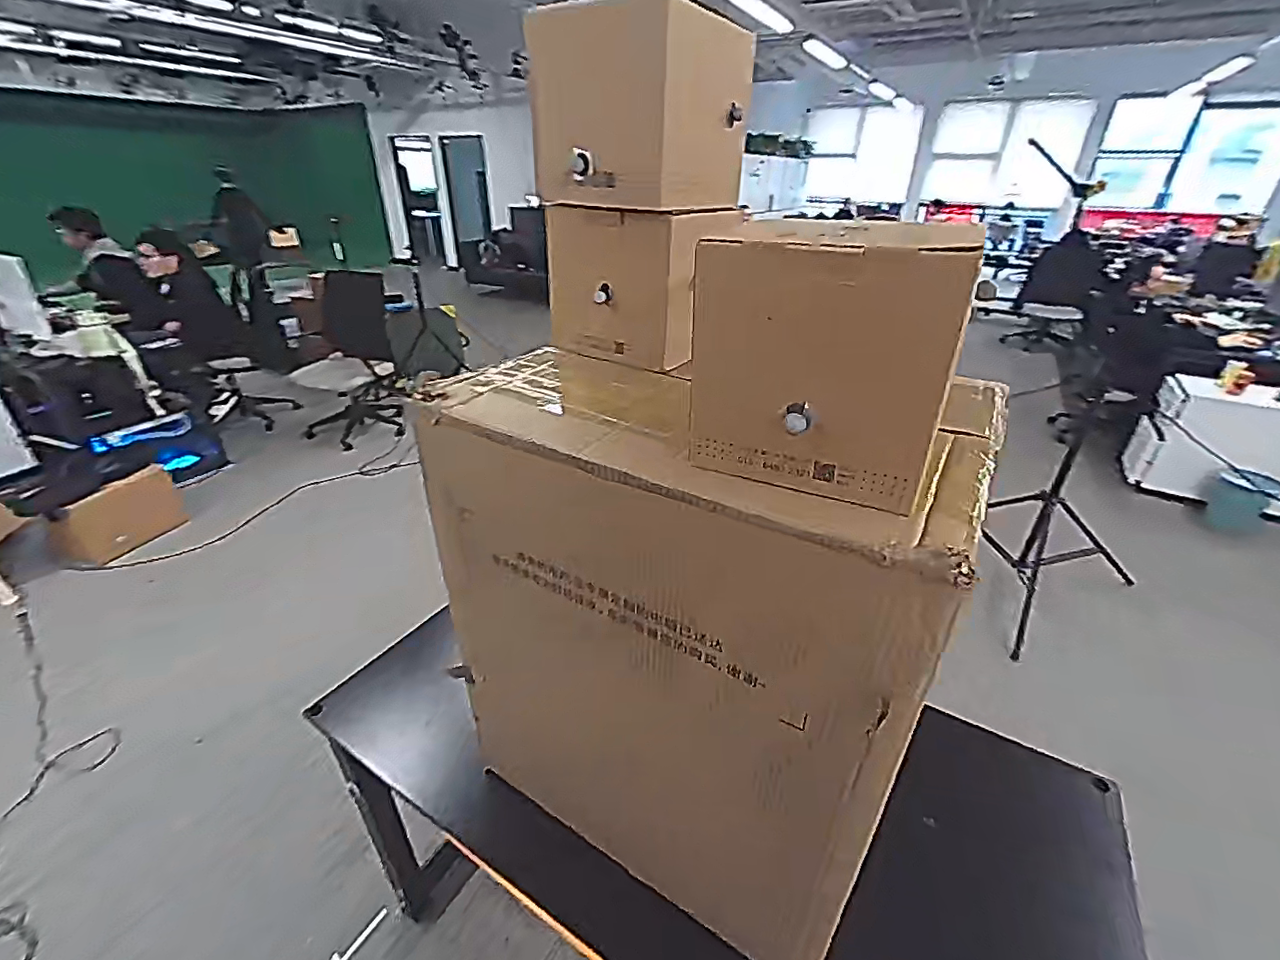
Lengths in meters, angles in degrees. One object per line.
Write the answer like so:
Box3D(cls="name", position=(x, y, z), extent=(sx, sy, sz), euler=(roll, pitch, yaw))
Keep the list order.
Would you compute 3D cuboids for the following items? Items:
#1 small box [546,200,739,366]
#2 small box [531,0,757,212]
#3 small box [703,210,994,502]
Box3D(cls="small box", position=(0.007, -0.250, 0.667), extent=(0.168, 0.176, 0.179), euler=(19, 34, 26))
Box3D(cls="small box", position=(0.005, -0.385, 0.574), extent=(0.168, 0.176, 0.179), euler=(18, 34, 29))
Box3D(cls="small box", position=(0.153, -0.107, 0.415), extent=(0.168, 0.176, 0.179), euler=(14, 33, 25))
